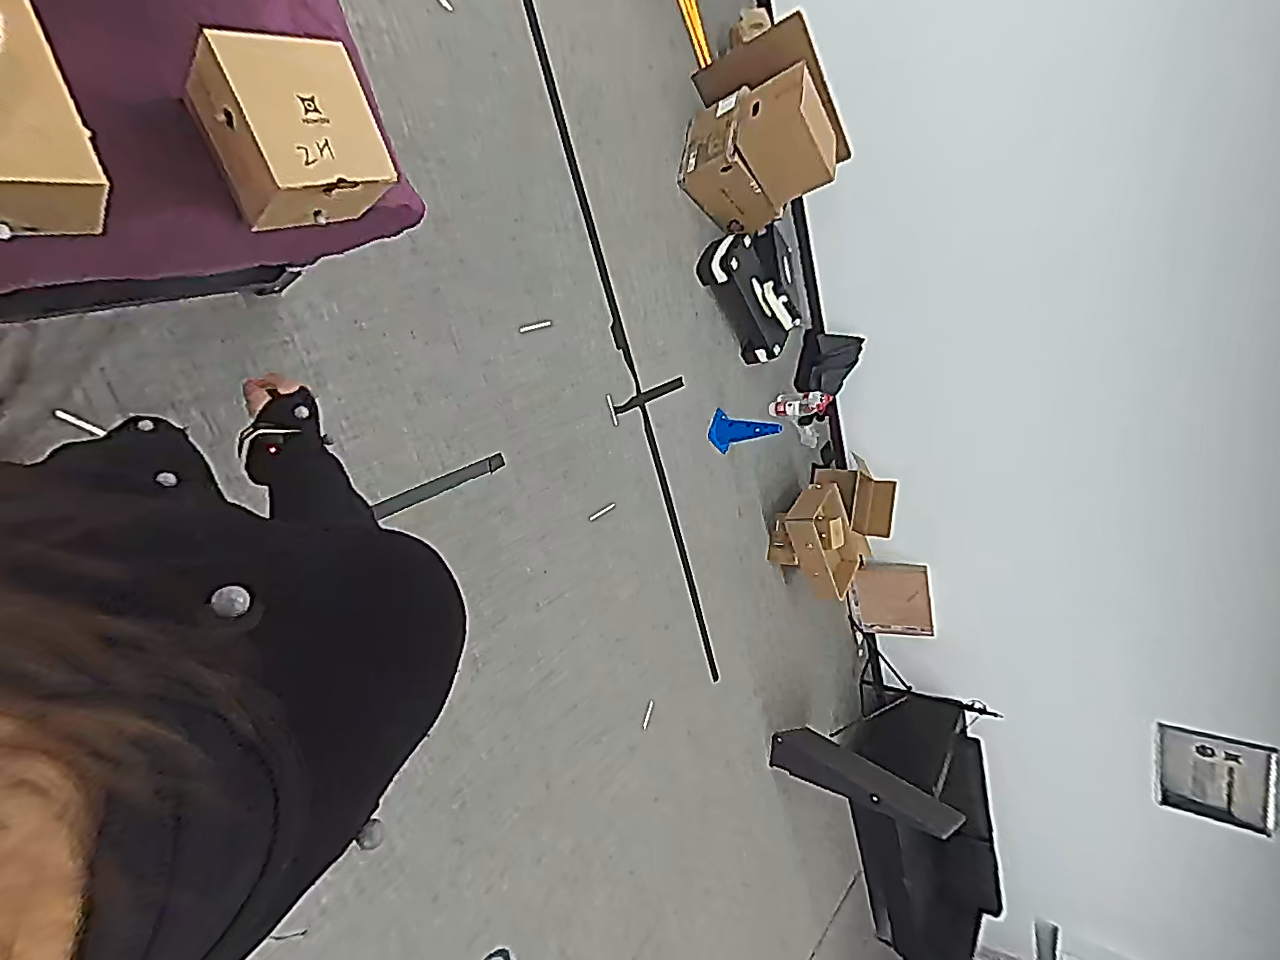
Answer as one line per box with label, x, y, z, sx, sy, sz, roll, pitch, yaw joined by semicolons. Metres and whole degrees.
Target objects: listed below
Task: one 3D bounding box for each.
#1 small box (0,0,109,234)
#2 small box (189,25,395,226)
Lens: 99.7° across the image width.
small box;-0.684;-0.363;0.542;0.168;0.176;0.179;-28;111;-43
small box;-0.485;-0.479;0.754;0.168;0.176;0.179;-35;115;-40
